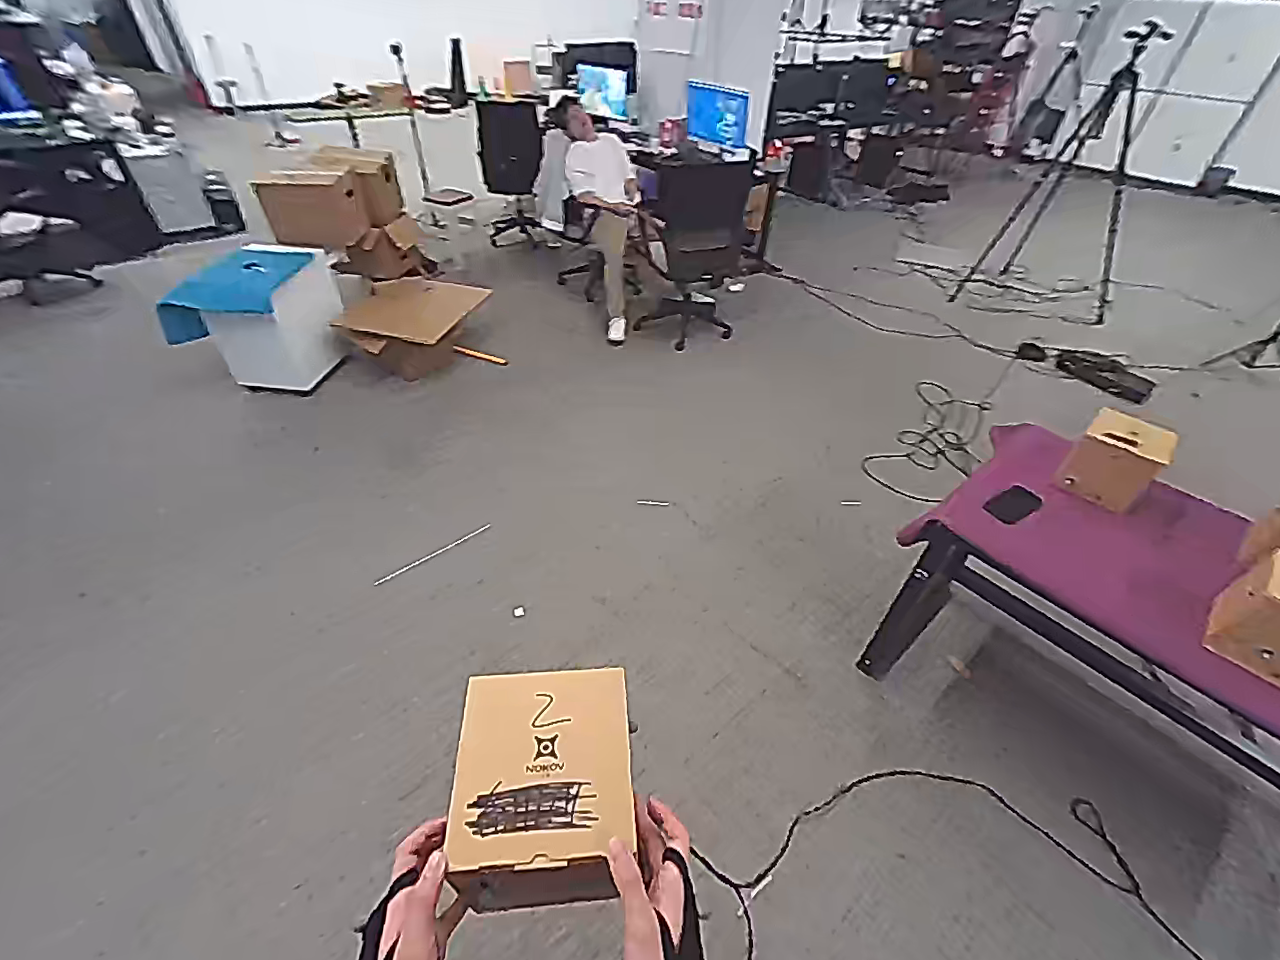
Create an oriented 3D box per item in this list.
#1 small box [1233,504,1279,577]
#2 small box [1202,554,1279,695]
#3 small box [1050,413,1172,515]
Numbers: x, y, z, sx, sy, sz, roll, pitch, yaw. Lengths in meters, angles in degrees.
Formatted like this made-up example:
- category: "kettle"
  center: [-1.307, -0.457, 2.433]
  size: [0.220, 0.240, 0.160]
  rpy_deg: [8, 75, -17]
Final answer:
- category: "small box"
  center: [1.471, 0.150, 1.185]
  size: [0.179, 0.176, 0.168]
  rpy_deg: [-30, 50, -30]
- category: "small box"
  center: [1.230, 0.280, 1.023]
  size: [0.179, 0.176, 0.168]
  rpy_deg: [-30, 51, -32]
- category: "small box"
  center: [1.196, -0.039, 1.383]
  size: [0.179, 0.176, 0.168]
  rpy_deg: [-32, 52, -33]
